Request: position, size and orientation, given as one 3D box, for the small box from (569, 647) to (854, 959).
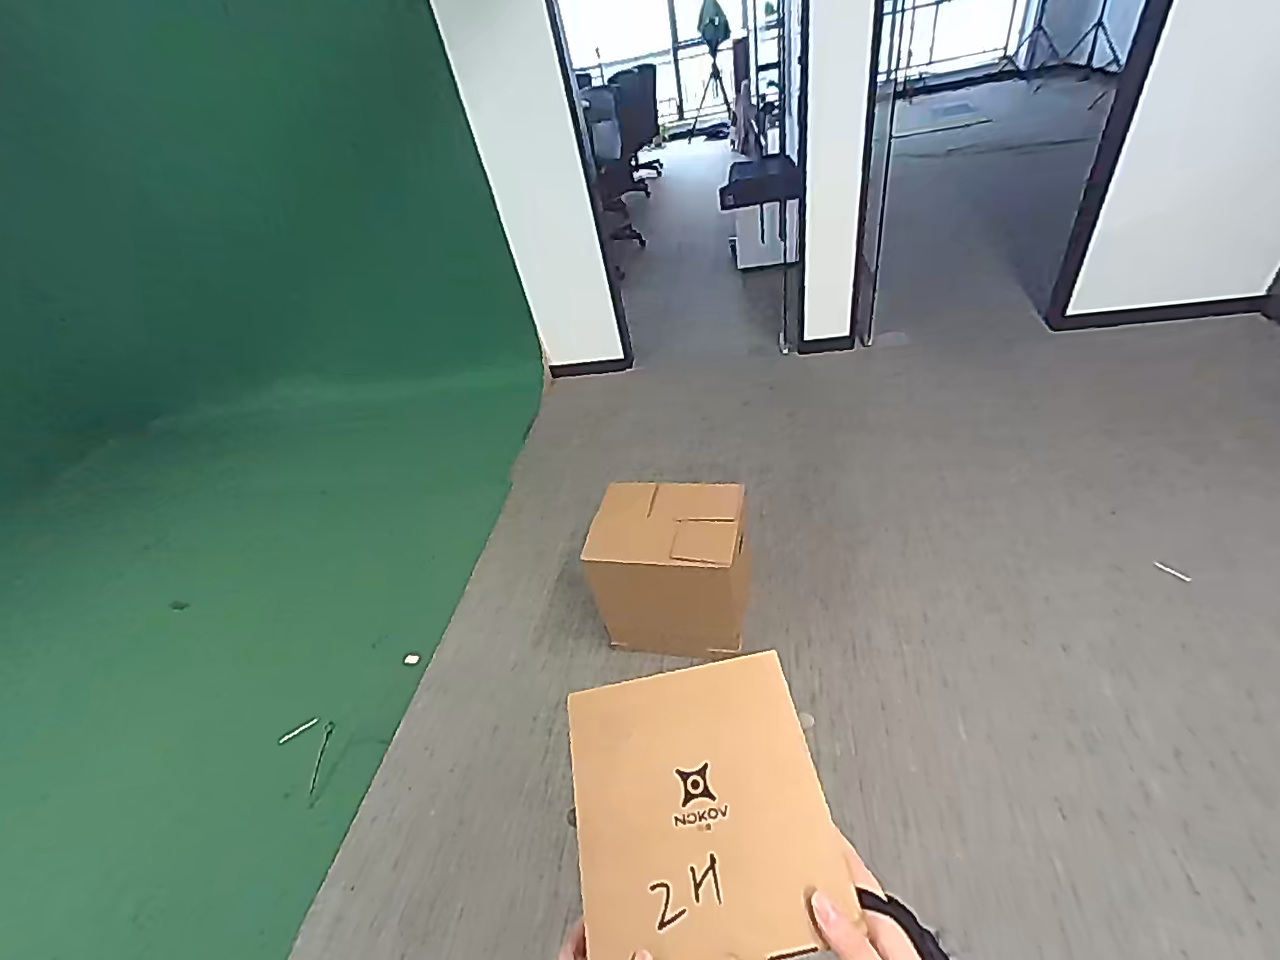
[{"bbox_3d":[0.046,0.260,0.431,0.168,0.176,0.179,-12,51,2],"label":"small box"}]
